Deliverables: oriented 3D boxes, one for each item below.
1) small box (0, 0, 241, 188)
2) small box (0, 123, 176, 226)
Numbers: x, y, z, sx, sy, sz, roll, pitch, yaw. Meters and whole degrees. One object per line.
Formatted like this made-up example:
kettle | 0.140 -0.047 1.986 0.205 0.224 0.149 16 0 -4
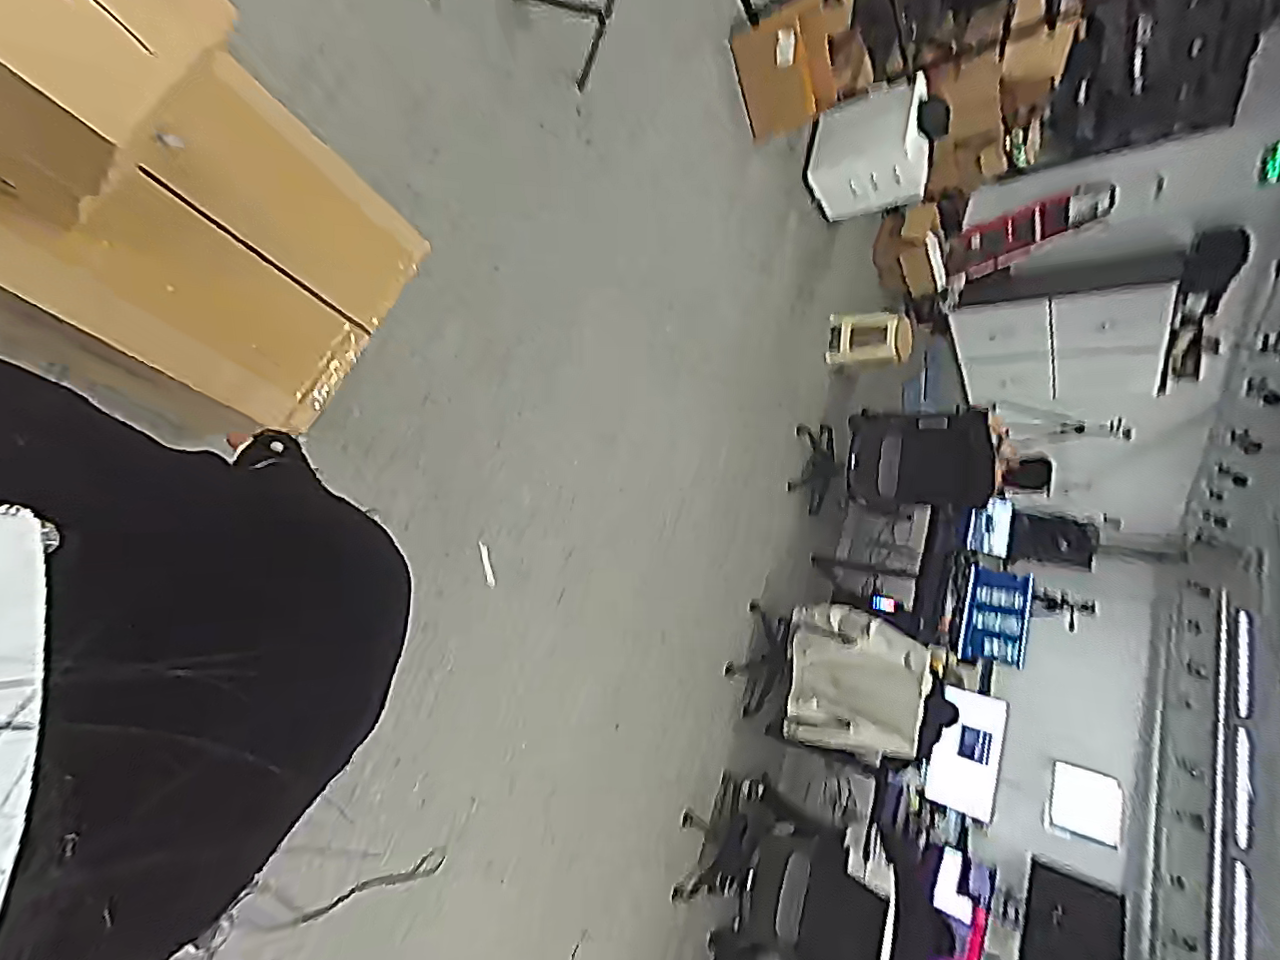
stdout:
small box | -0.480 -0.376 0.435 0.179 0.176 0.168 40 66 -44
small box | -0.603 -0.393 0.543 0.168 0.176 0.179 41 66 -43
